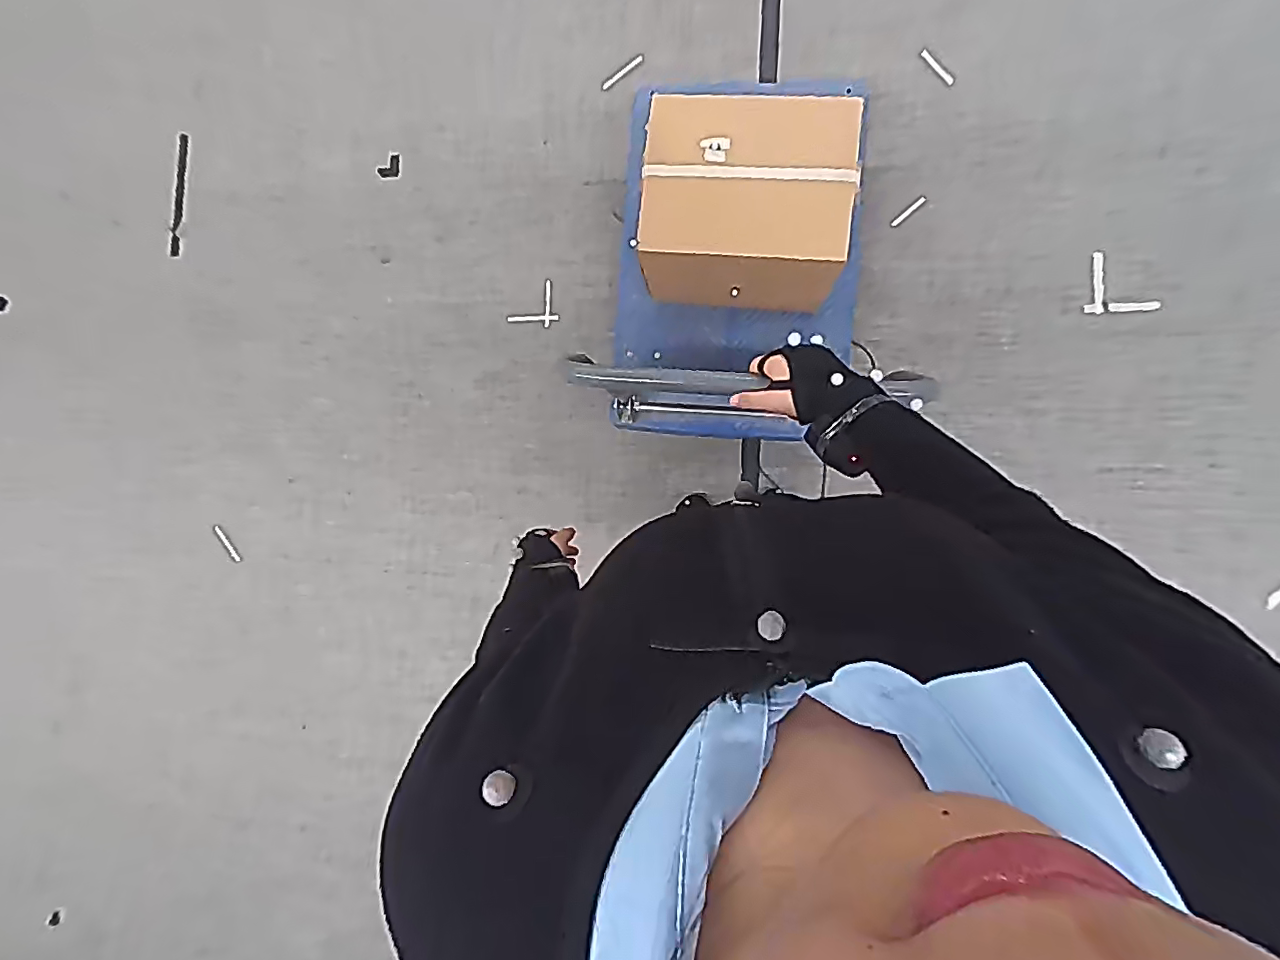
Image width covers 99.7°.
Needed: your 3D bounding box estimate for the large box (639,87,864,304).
[{"bbox_3d":[0.230,-0.585,1.169,0.408,0.320,0.320,6,89,9],"label":"large box"}]
